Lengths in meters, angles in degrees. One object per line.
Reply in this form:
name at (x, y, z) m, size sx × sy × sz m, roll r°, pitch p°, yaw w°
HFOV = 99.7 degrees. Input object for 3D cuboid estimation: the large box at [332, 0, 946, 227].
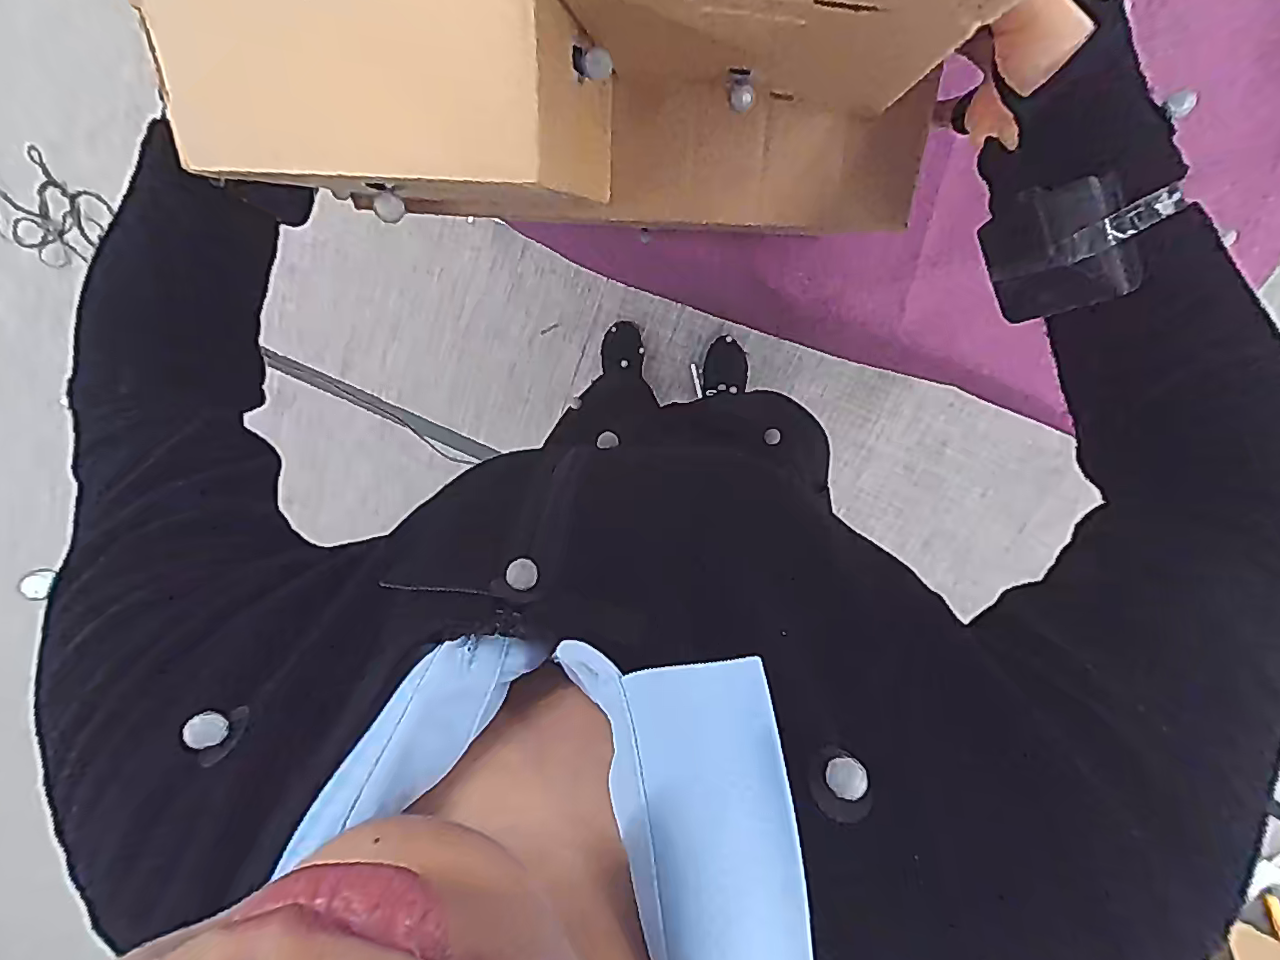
large box at (0.016, -0.389, 0.461) m, size 0.408 × 0.320 × 0.320 m, roll 5°, pitch 113°, yaw 8°

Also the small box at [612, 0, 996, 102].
small box at (0.072, -0.289, 0.223) m, size 0.168 × 0.176 × 0.179 m, roll 12°, pitch 115°, yaw 5°
